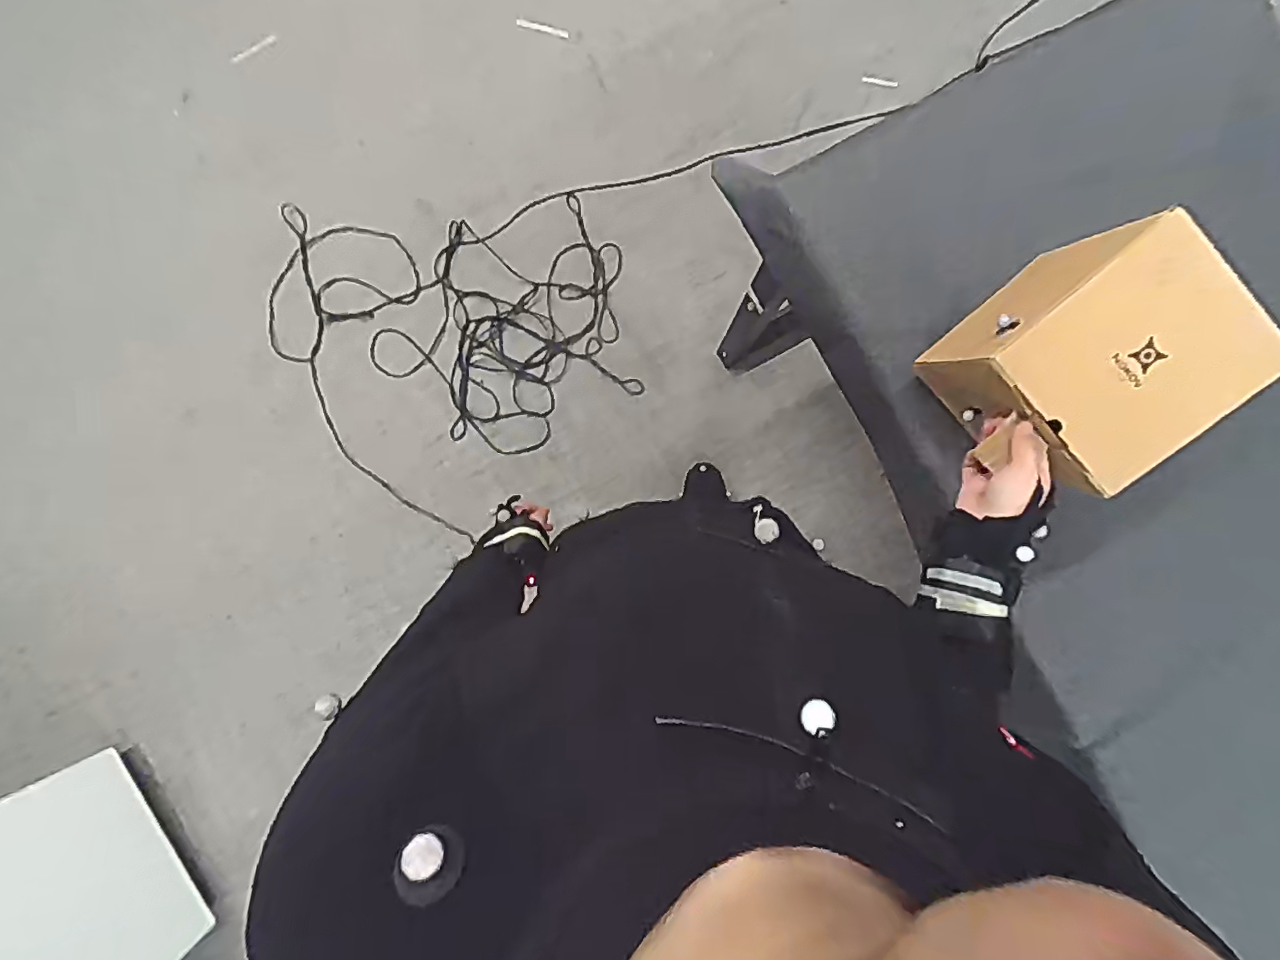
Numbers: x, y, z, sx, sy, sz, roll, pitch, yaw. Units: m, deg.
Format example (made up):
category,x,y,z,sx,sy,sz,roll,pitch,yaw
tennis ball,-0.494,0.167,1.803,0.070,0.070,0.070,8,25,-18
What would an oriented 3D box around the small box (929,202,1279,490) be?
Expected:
category,x,y,z,sx,sy,sz,roll,pitch,yaw
small box,0.428,-0.120,0.522,0.179,0.176,0.168,-42,95,12
